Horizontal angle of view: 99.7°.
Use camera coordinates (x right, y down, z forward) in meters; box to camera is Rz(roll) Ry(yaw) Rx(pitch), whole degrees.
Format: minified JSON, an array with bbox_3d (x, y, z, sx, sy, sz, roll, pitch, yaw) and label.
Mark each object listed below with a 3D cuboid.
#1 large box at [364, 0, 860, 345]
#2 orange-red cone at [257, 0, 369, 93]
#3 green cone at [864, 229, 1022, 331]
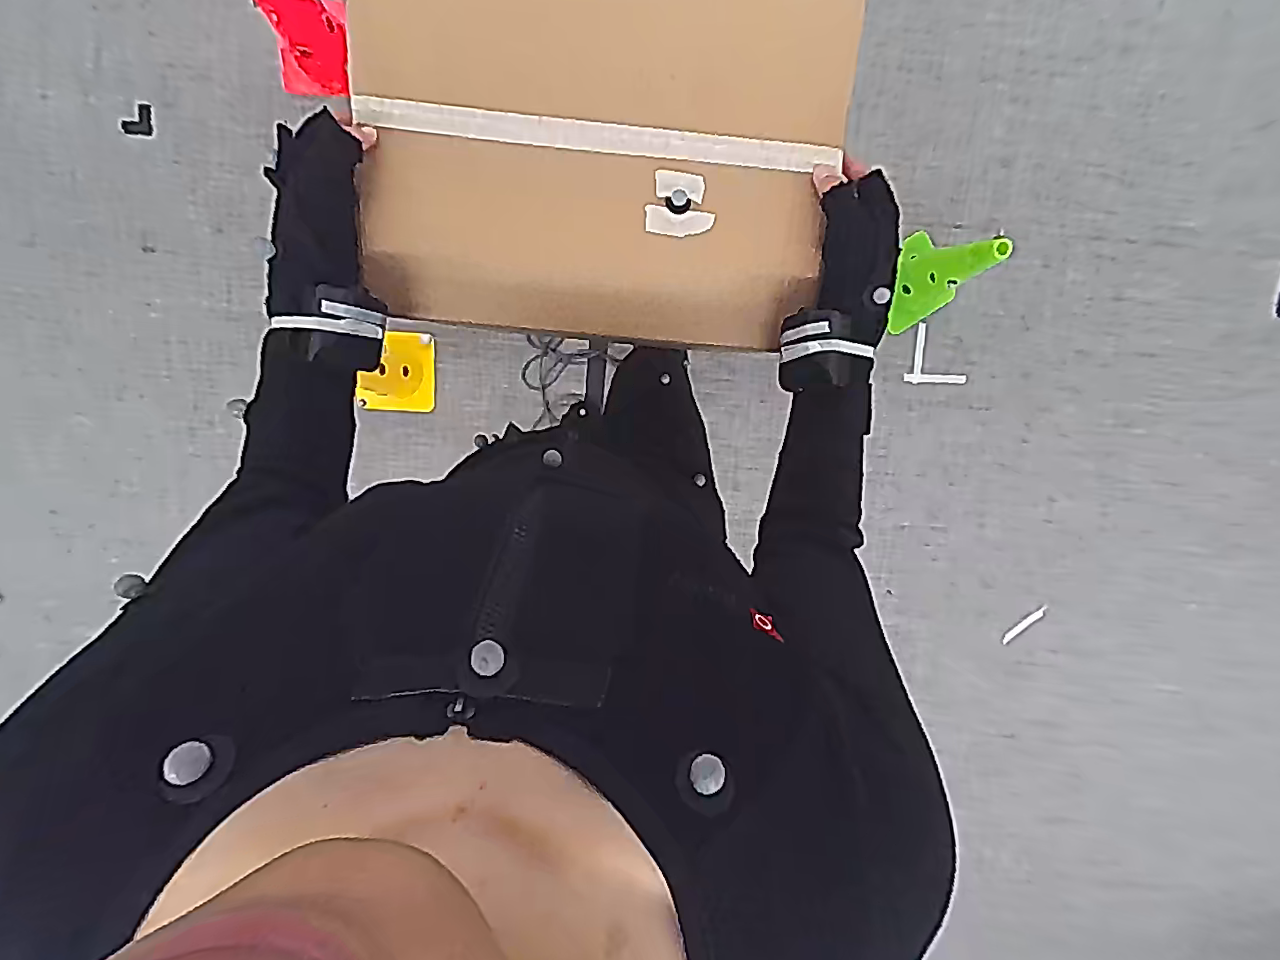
[{"bbox_3d":[-0.035,-0.324,0.600,0.408,0.320,0.320,4,103,-4],"label":"large box"},{"bbox_3d":[-0.731,-0.984,1.097,0.198,0.360,0.199,1,101,-2],"label":"orange-red cone"},{"bbox_3d":[0.718,-0.491,1.240,0.202,0.368,0.200,-33,100,2],"label":"green cone"}]
